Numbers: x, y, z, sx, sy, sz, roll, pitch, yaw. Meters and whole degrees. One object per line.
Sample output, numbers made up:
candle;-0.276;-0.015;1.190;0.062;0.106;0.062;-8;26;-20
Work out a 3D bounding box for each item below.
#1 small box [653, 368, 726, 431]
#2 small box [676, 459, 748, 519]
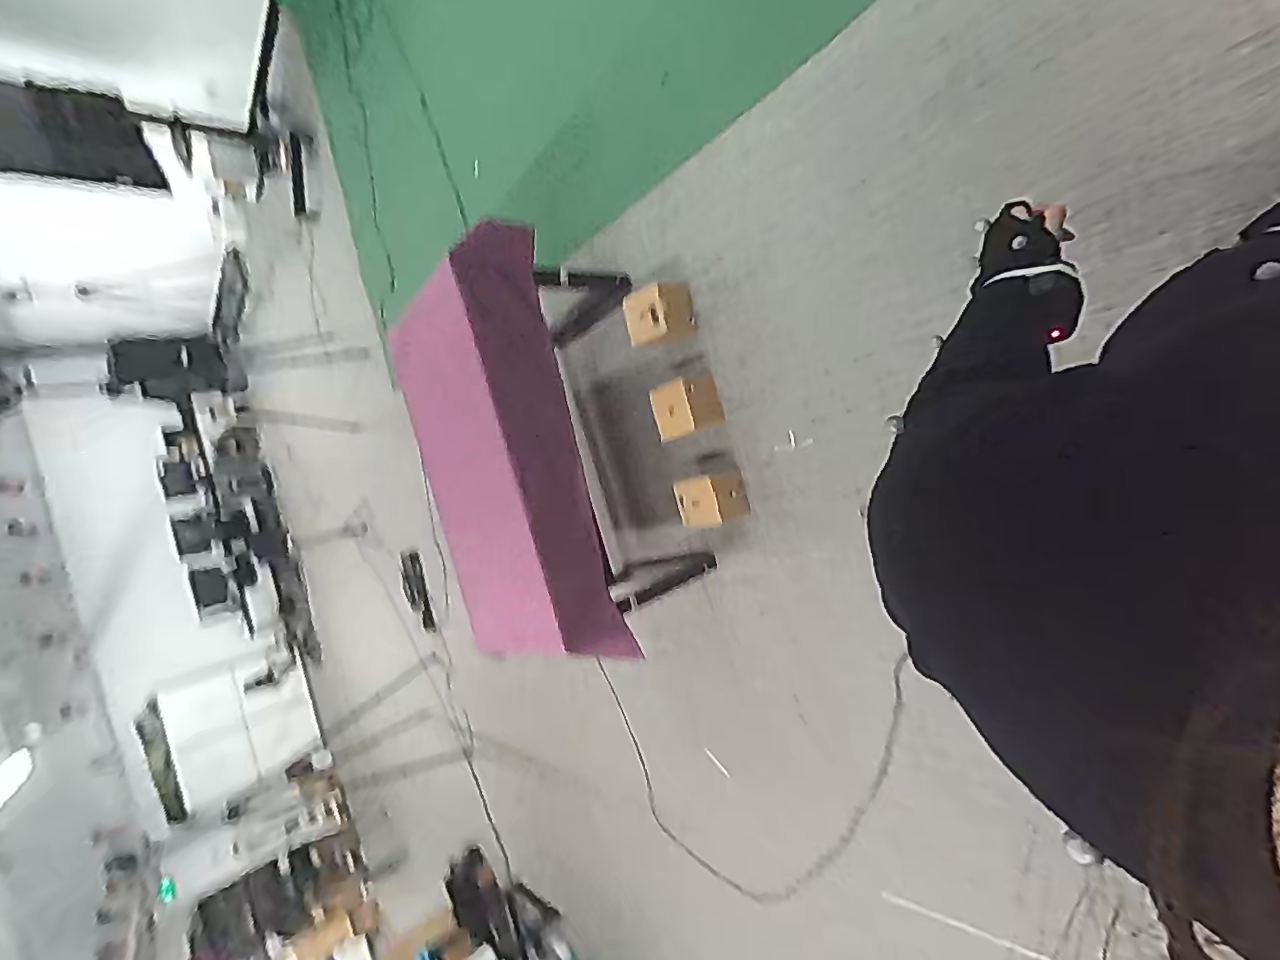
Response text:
small box;0.179;-0.283;1.893;0.168;0.176;0.179;-16;90;48
small box;0.261;0.031;1.898;0.179;0.176;0.168;-13;92;47
